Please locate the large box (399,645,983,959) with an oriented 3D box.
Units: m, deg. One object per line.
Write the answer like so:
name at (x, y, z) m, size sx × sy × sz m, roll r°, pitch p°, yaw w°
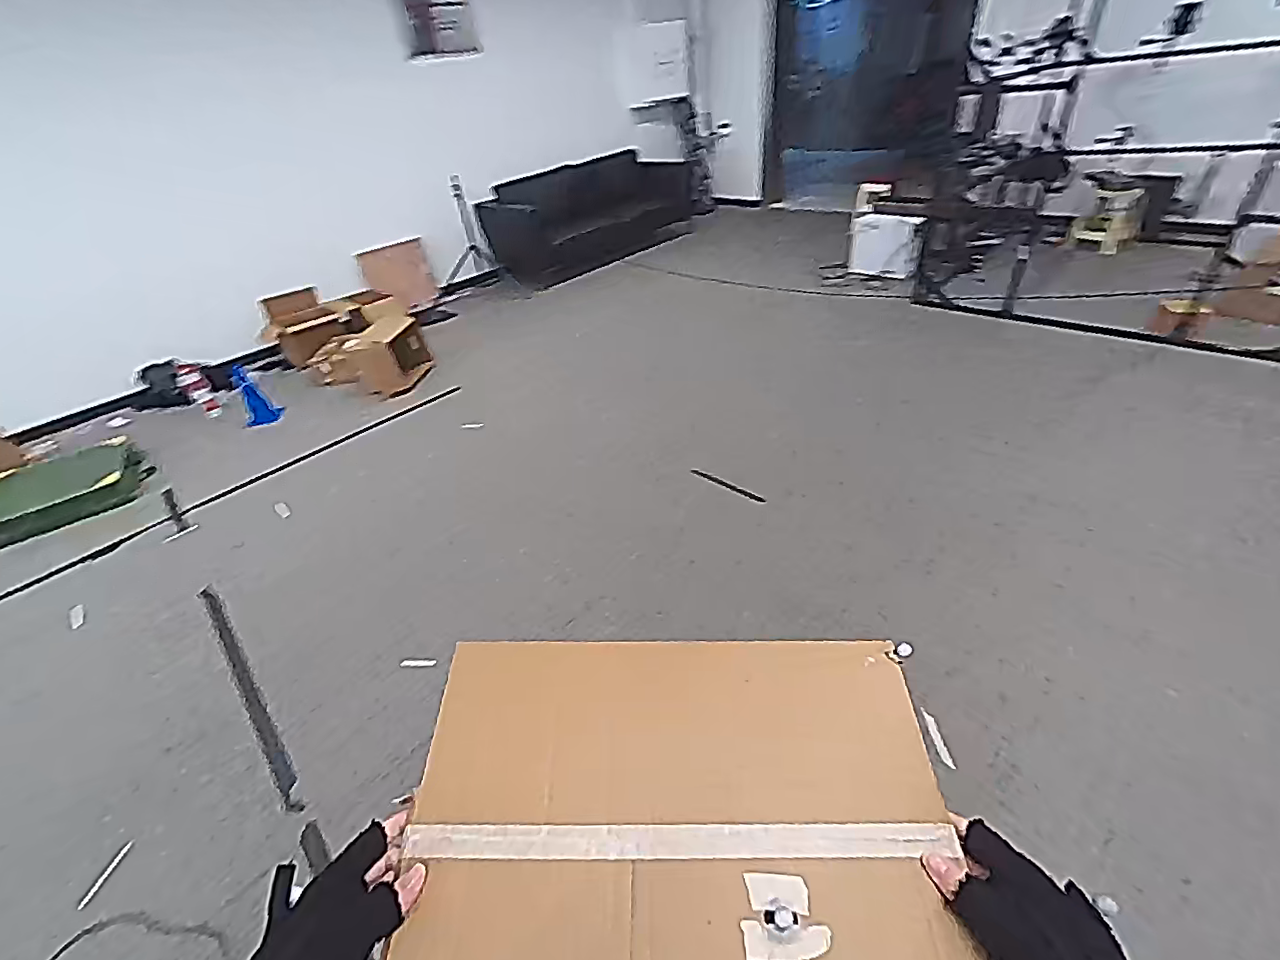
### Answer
large box at (0.032, 0.376, 0.520) m, size 0.408 × 0.320 × 0.320 m, roll -1°, pitch 48°, yaw 0°
